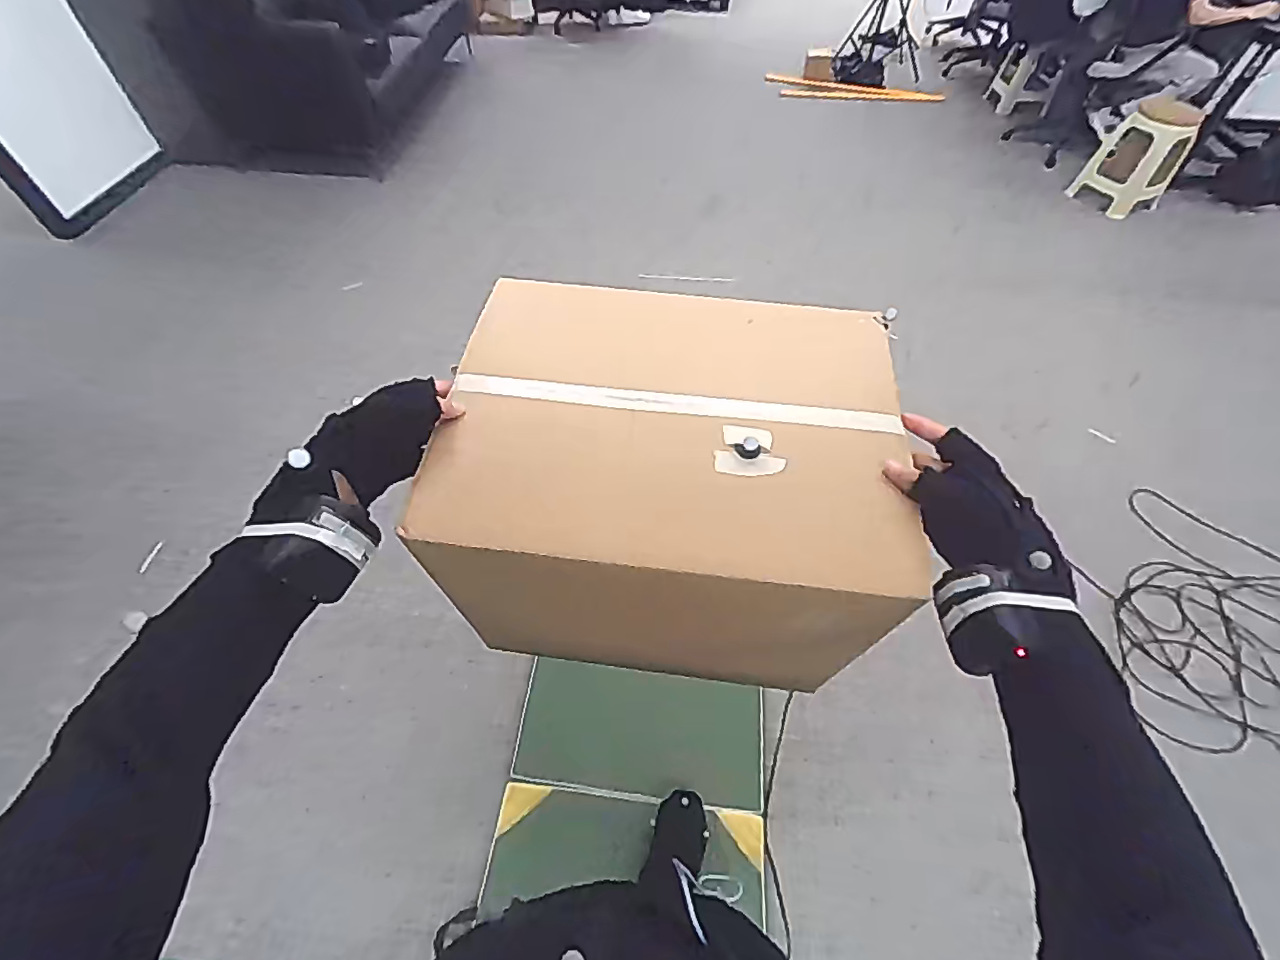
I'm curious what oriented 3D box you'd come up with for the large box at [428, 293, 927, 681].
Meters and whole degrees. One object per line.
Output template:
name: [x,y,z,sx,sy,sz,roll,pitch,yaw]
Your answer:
large box: [0.036,0.021,0.627,0.408,0.320,0.320,6,58,2]
